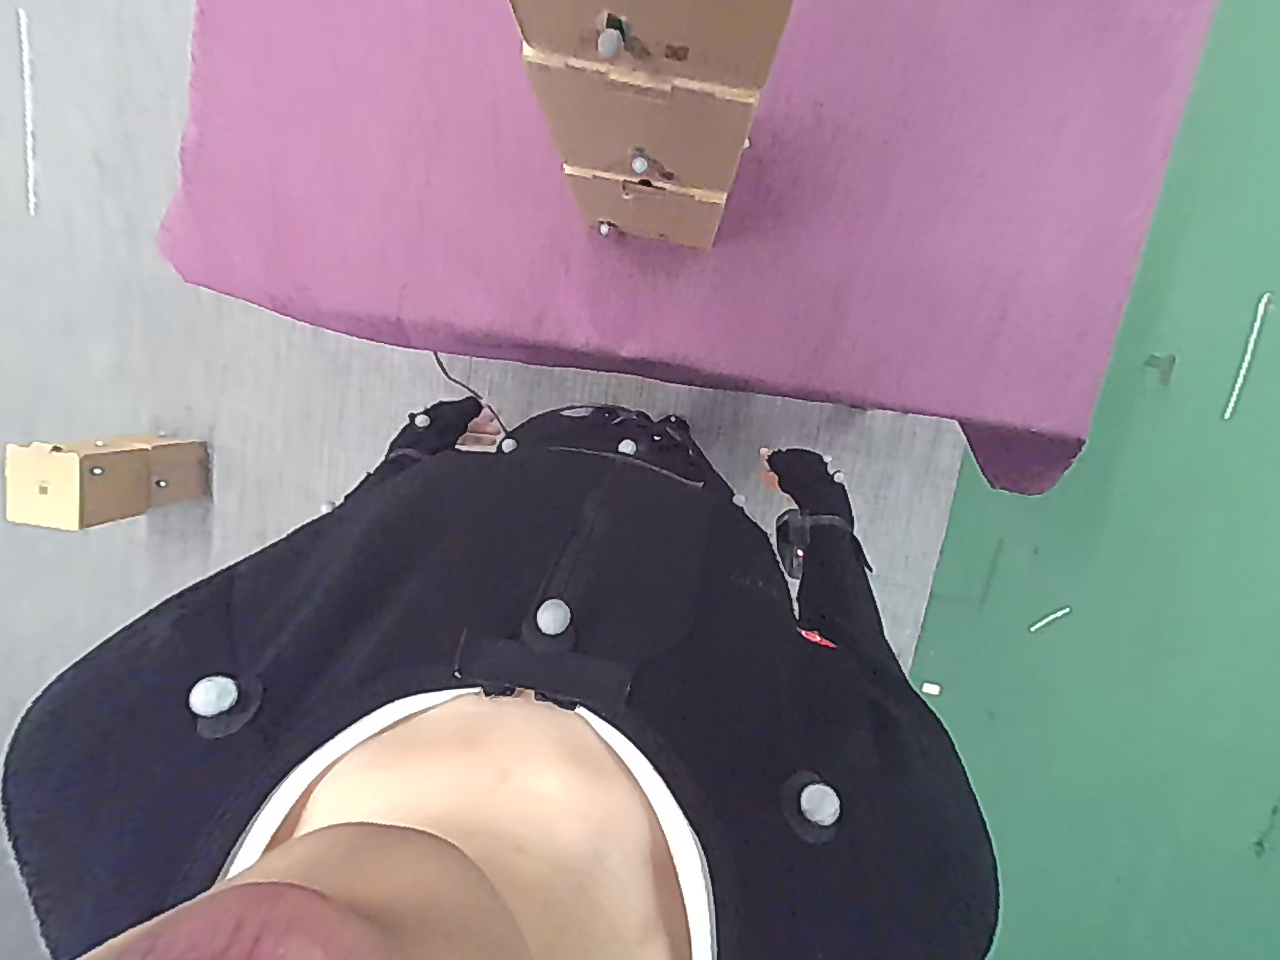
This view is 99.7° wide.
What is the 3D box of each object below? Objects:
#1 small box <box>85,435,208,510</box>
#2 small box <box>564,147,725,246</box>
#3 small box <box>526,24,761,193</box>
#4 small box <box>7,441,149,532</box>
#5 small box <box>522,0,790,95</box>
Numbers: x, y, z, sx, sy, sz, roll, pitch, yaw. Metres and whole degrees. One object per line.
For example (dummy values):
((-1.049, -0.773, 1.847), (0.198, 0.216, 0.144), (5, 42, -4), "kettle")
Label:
((-1.295, -0.025, 1.424), (0.179, 0.176, 0.168), (8, 98, 1), "small box")
((0.022, -0.383, 0.605), (0.168, 0.176, 0.179), (11, 98, 0), "small box")
((0.018, -0.369, 0.441), (0.168, 0.176, 0.179), (11, 98, 1), "small box")
((-1.303, 0.009, 1.264), (0.168, 0.176, 0.179), (8, 97, 0), "small box")
((0.015, -0.351, 0.280), (0.168, 0.176, 0.179), (11, 98, 1), "small box")
